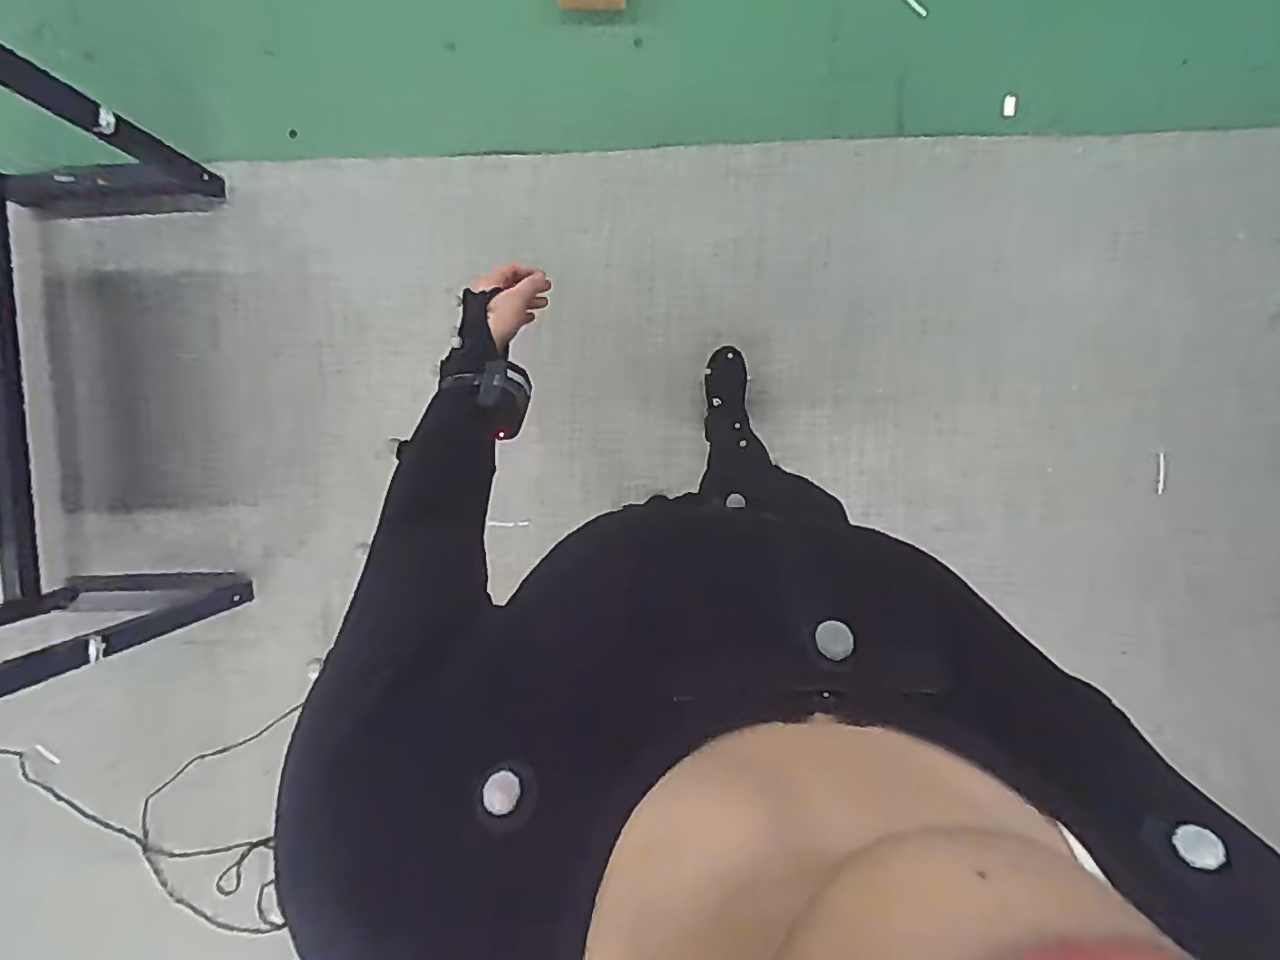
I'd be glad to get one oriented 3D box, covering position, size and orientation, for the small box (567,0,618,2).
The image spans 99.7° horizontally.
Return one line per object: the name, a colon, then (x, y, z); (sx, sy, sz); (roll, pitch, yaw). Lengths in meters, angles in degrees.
small box: (-0.116, -1.307, 1.308); (0.179, 0.176, 0.168); (3, 94, 2)
